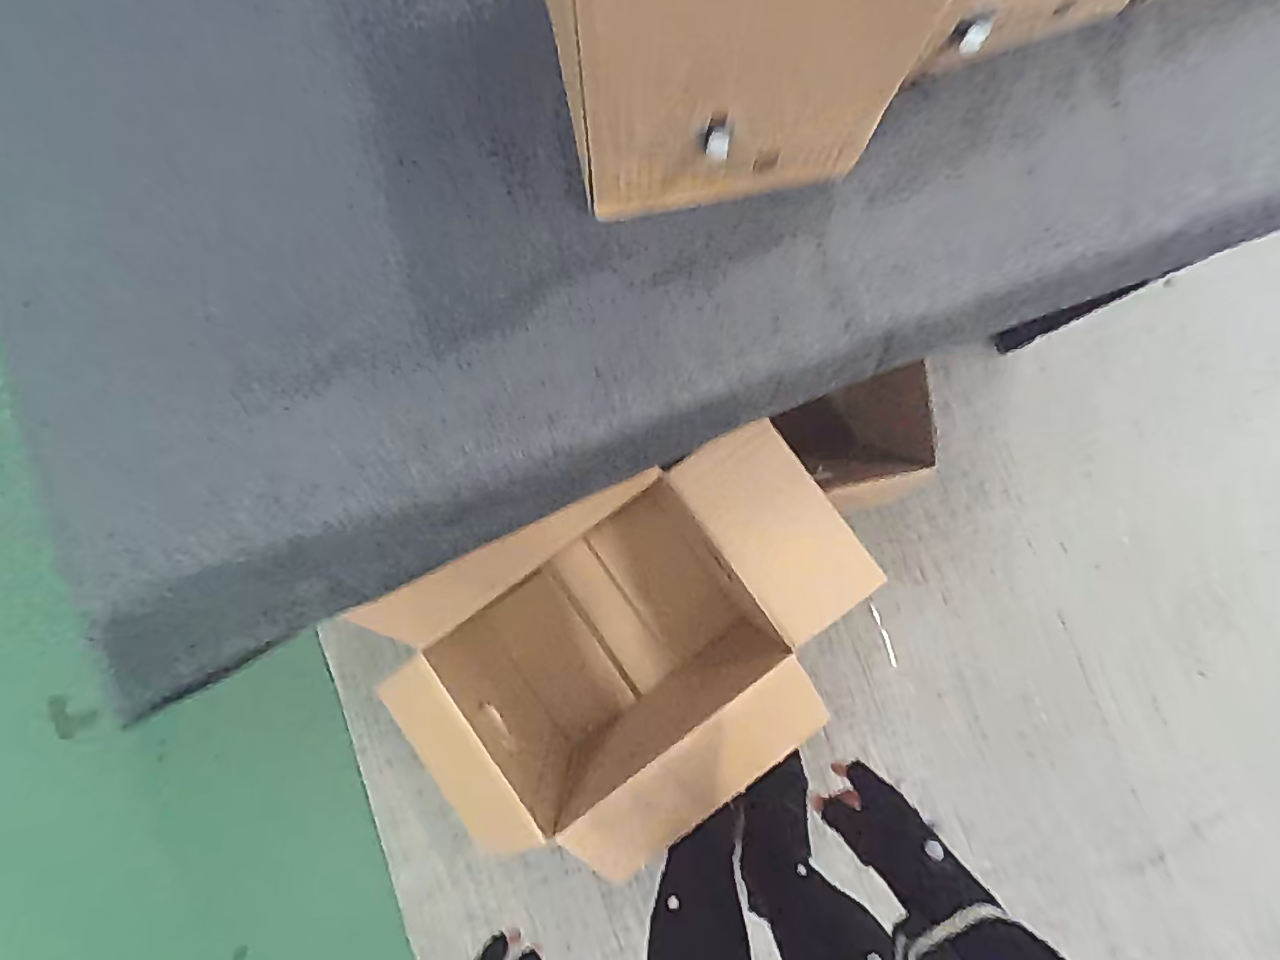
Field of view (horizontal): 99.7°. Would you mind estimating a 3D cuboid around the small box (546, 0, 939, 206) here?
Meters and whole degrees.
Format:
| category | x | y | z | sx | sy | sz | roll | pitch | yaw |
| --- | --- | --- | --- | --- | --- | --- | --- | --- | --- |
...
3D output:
| category | x | y | z | sx | sy | sz | roll | pitch | yaw |
| --- | --- | --- | --- | --- | --- | --- | --- | --- | --- |
| small box | 0.034 | -0.273 | 0.265 | 0.168 | 0.176 | 0.179 | -12 | 85 | -3 |
